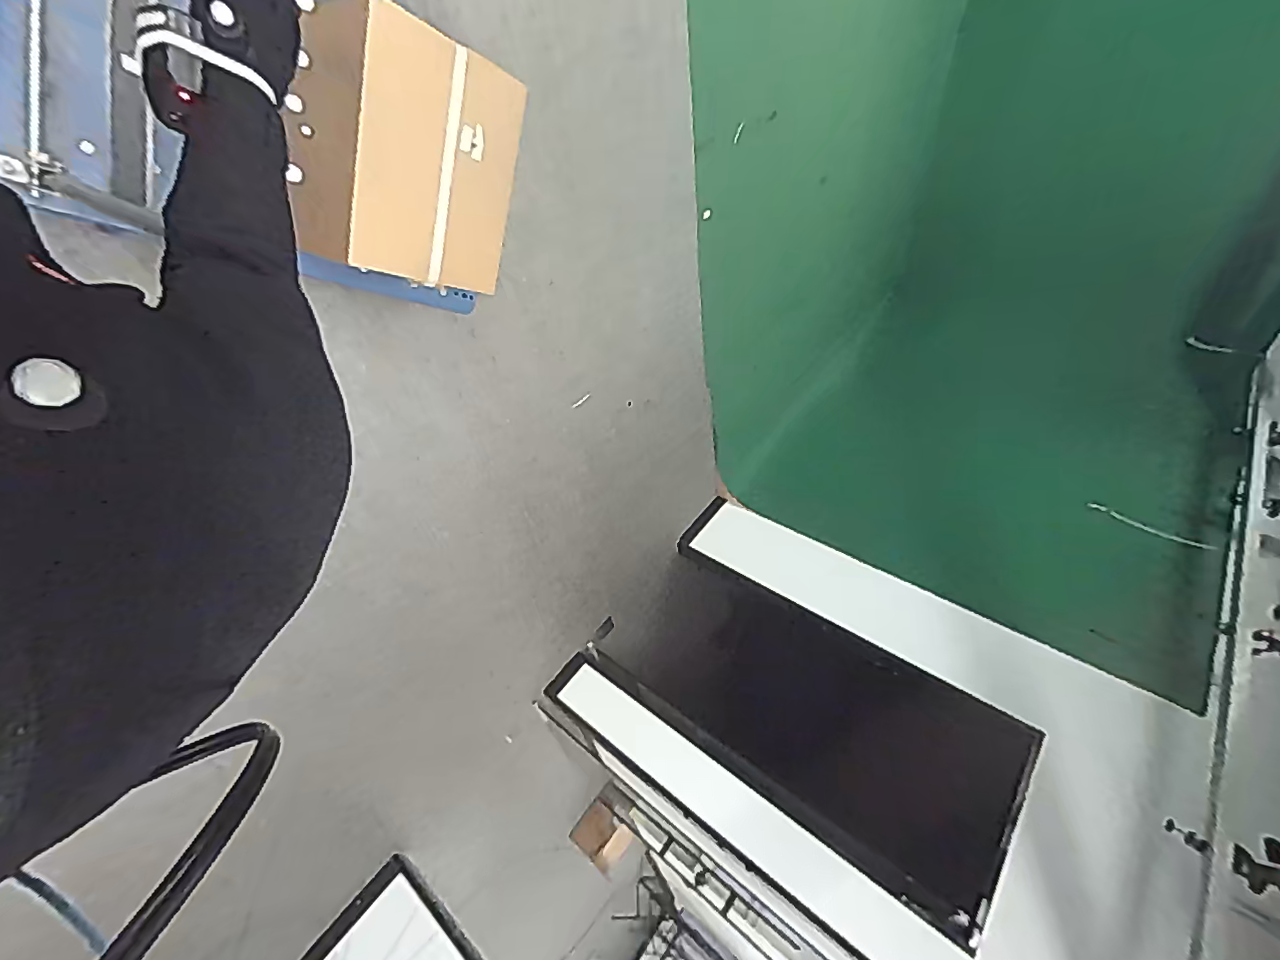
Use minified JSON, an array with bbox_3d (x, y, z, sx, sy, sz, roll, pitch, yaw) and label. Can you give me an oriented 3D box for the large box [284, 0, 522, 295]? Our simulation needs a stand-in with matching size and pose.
[{"bbox_3d":[-0.477,-0.617,1.074,0.320,0.320,0.408,-11,119,-53],"label":"large box"}]
